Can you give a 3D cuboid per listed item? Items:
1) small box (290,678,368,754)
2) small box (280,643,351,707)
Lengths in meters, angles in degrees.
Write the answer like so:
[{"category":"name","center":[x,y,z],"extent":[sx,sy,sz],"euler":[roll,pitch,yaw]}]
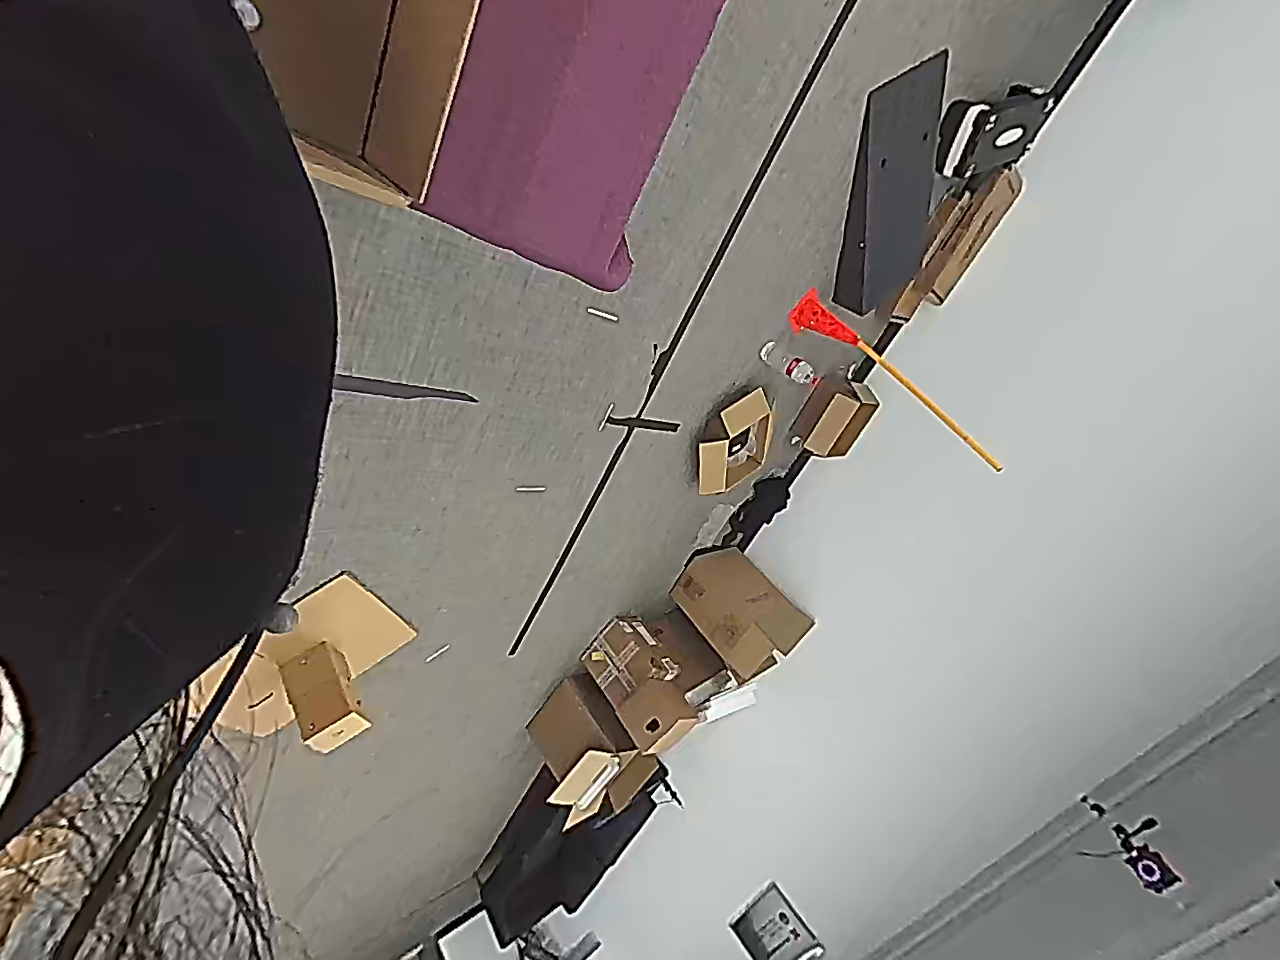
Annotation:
[{"category":"small box","center":[-1.137,0.857,1.976],"extent":[0.179,0.176,0.168],"euler":[-30,146,-21]},{"category":"small box","center":[-1.238,0.759,2.058],"extent":[0.179,0.176,0.168],"euler":[-30,146,-19]}]
